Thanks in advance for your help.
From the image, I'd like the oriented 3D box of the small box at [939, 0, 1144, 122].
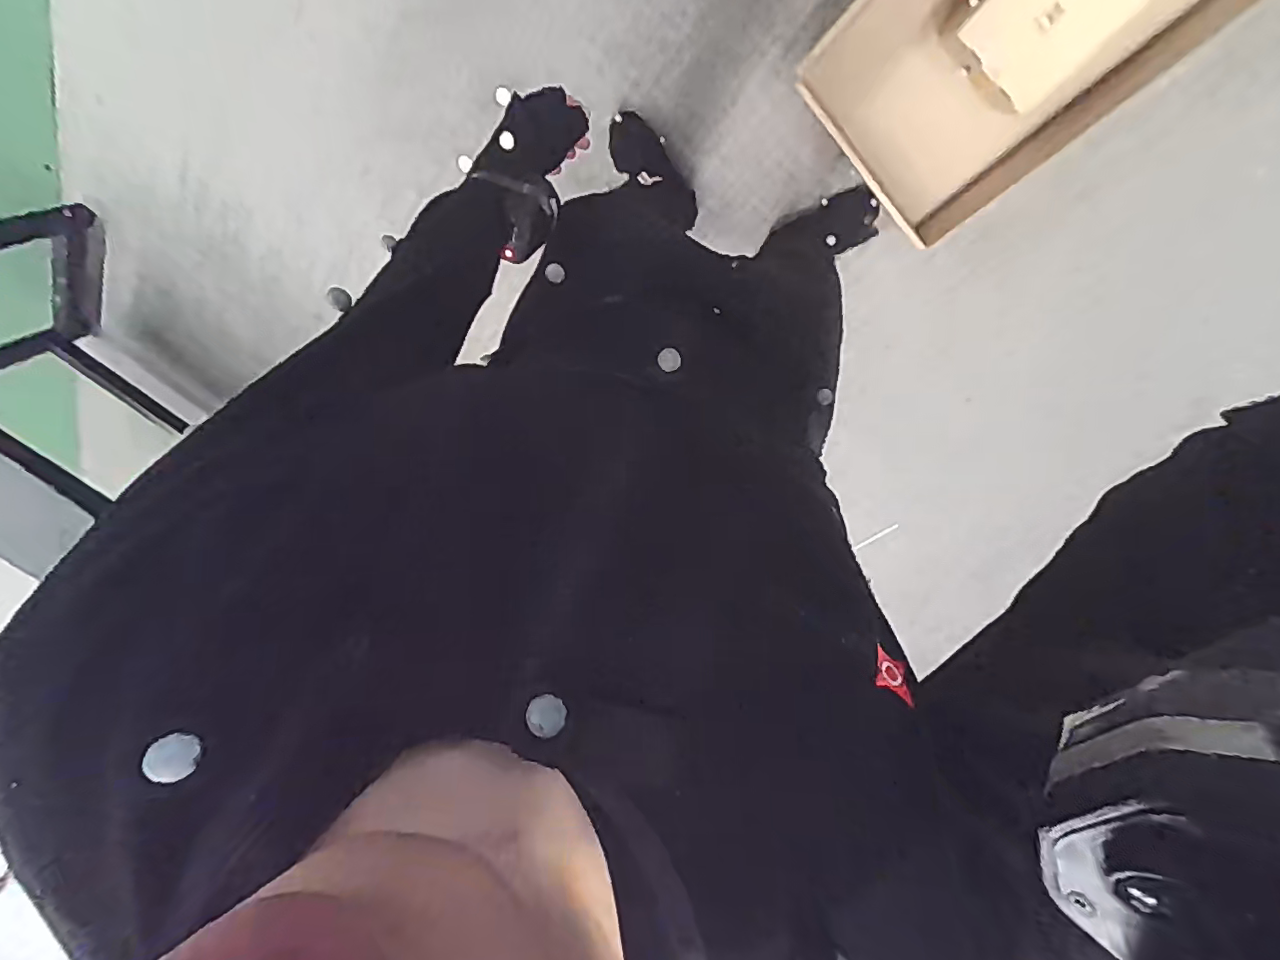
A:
[{"bbox_3d":[0.599,-0.700,0.834,0.168,0.176,0.179,38,128,-14],"label":"small box"}]
